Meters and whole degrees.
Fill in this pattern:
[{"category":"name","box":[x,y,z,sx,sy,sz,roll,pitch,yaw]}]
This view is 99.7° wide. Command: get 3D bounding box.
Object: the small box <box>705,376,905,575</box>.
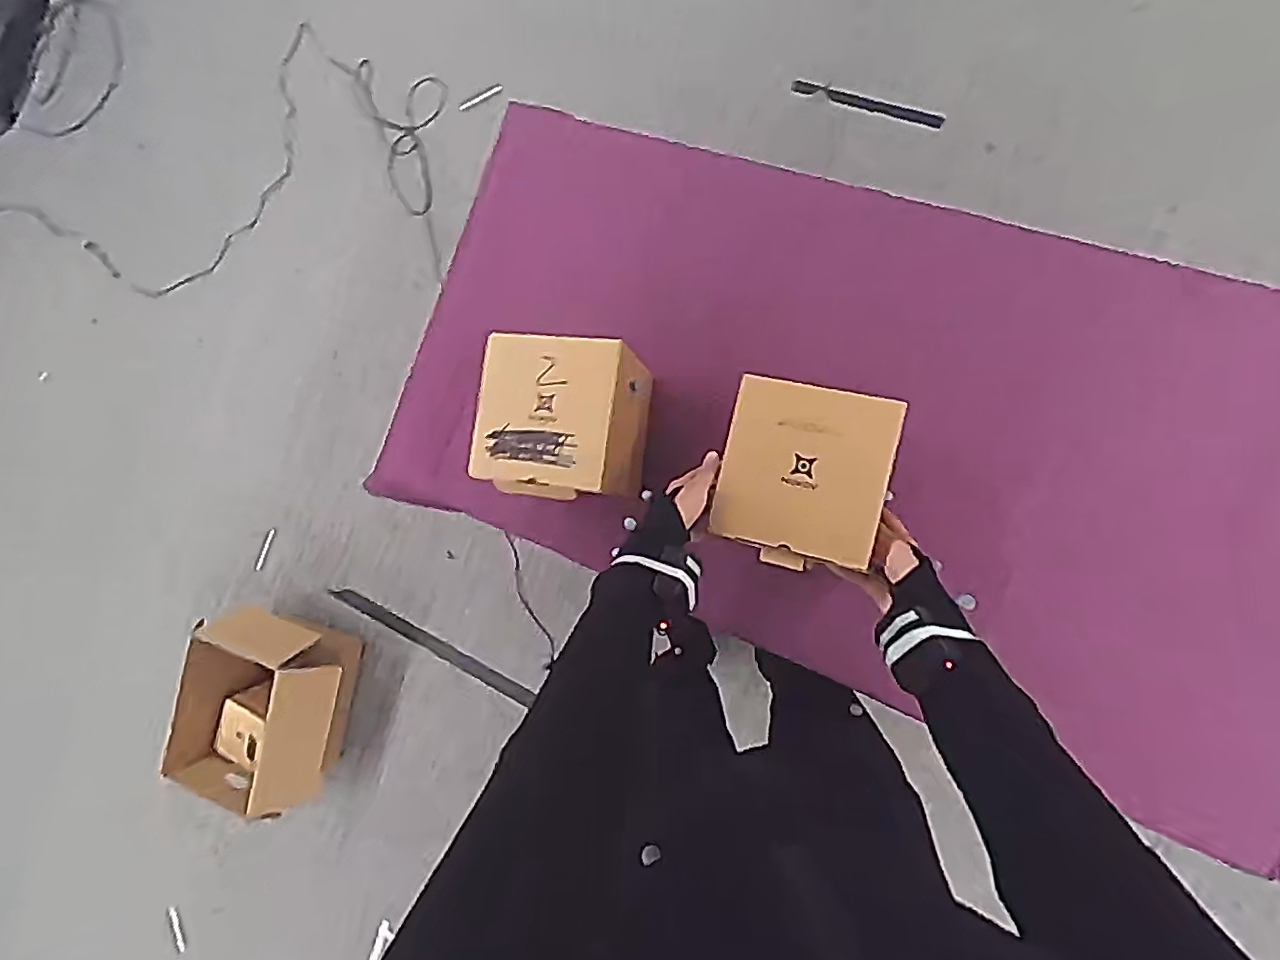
[{"category":"small box","box":[0.184,-0.004,0.629,0.168,0.176,0.179,14,90,13]}]
